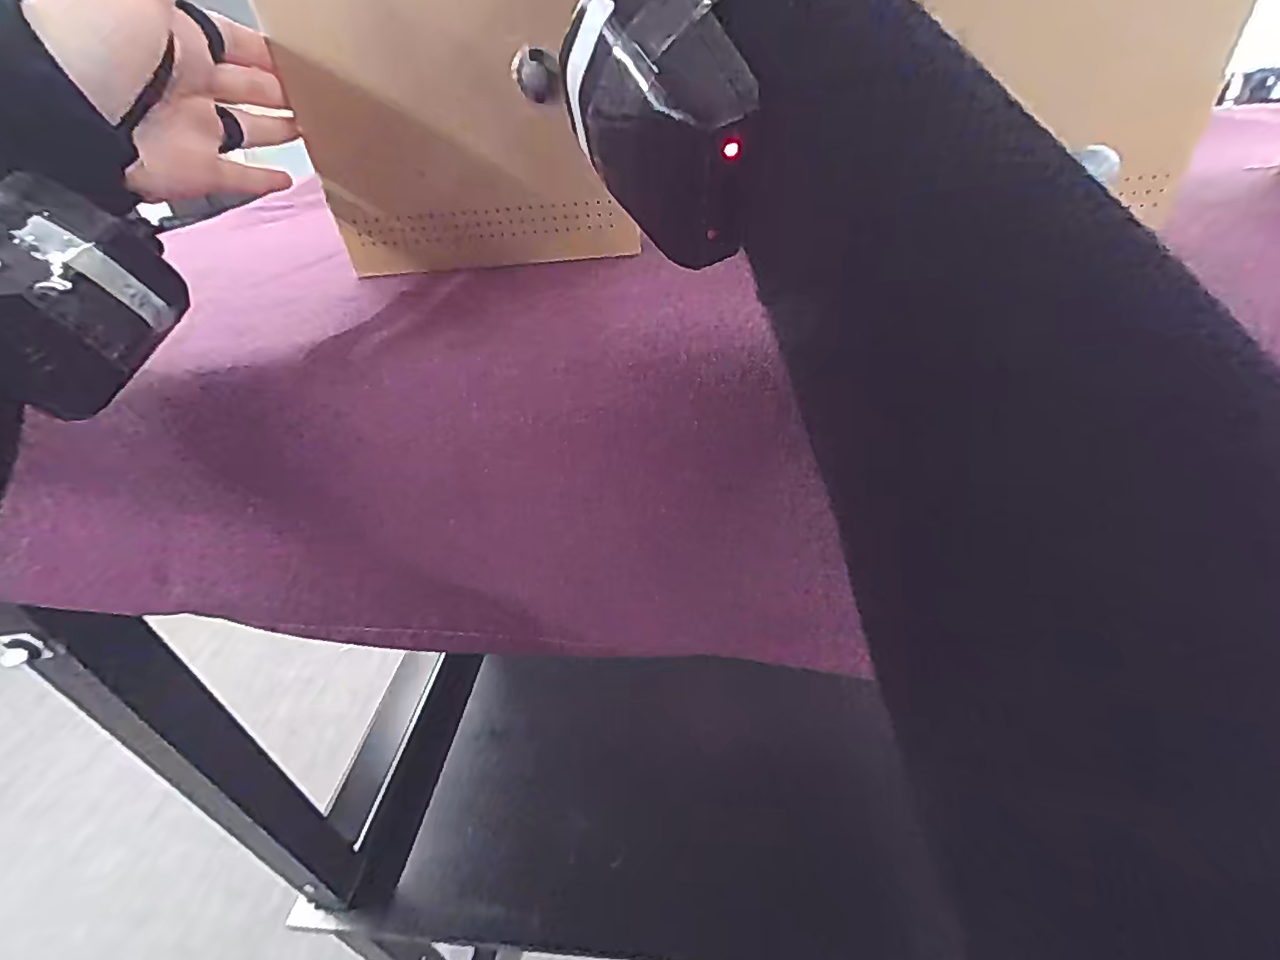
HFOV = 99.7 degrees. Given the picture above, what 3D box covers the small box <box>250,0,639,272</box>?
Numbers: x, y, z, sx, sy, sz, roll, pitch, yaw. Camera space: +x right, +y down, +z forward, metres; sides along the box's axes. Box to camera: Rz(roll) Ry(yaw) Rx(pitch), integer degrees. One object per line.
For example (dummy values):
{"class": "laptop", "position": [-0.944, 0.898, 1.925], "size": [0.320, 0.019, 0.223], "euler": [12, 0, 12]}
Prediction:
{"class": "small box", "position": [-0.092, -0.239, 0.336], "size": [0.179, 0.176, 0.168], "euler": [-4, 35, 3]}
